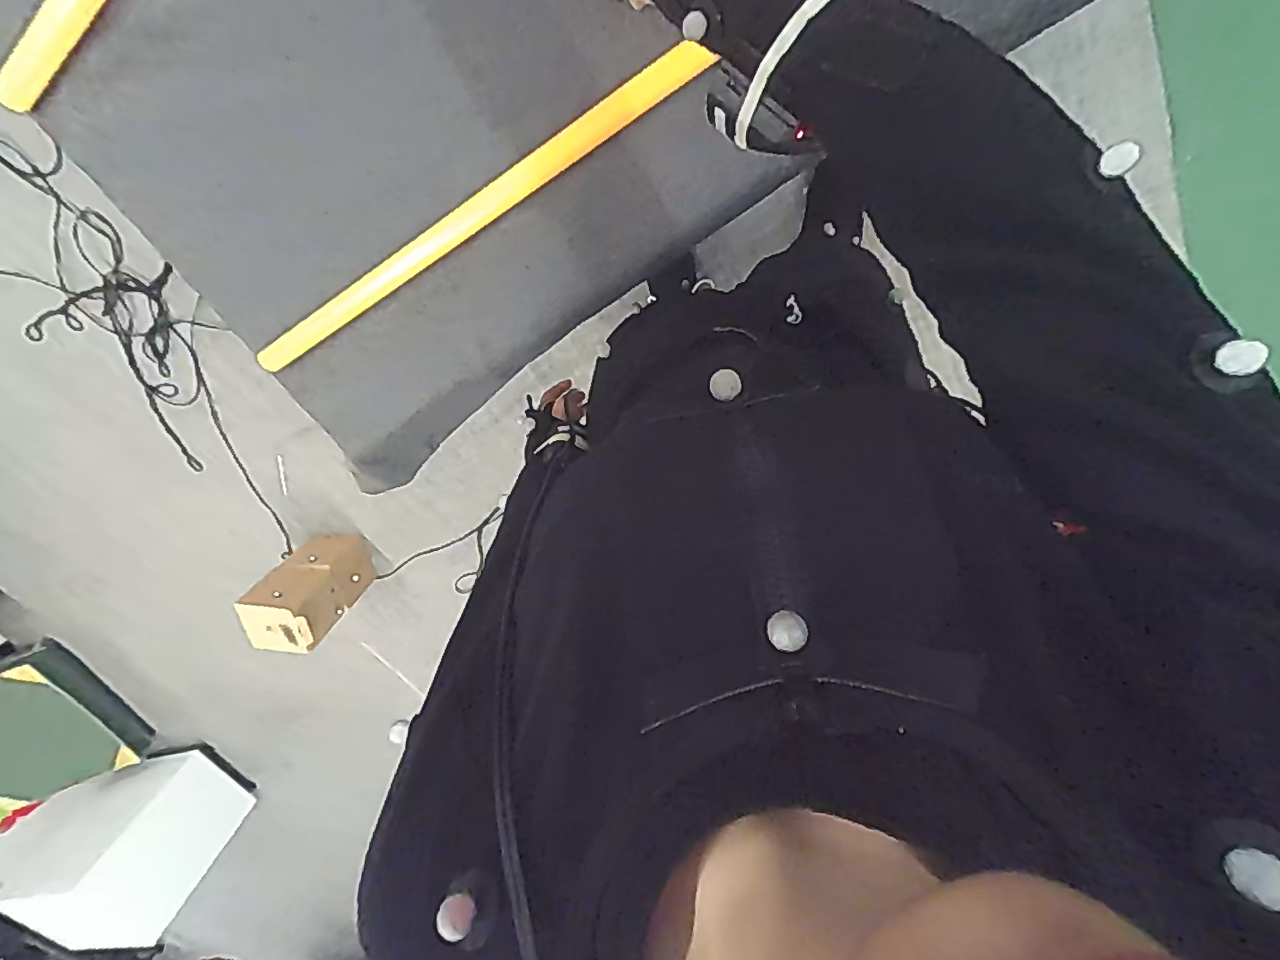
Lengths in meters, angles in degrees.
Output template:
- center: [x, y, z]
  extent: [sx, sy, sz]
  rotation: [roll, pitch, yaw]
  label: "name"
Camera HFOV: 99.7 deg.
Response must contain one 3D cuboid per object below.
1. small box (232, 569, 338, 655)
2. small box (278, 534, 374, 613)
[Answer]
- center: [-0.991, 0.370, 1.534]
  extent: [0.179, 0.176, 0.168]
  rotation: [4, 118, 6]
  label: "small box"
- center: [-0.961, 0.288, 1.675]
  extent: [0.168, 0.176, 0.179]
  rotation: [-1, 118, 8]
  label: "small box"
